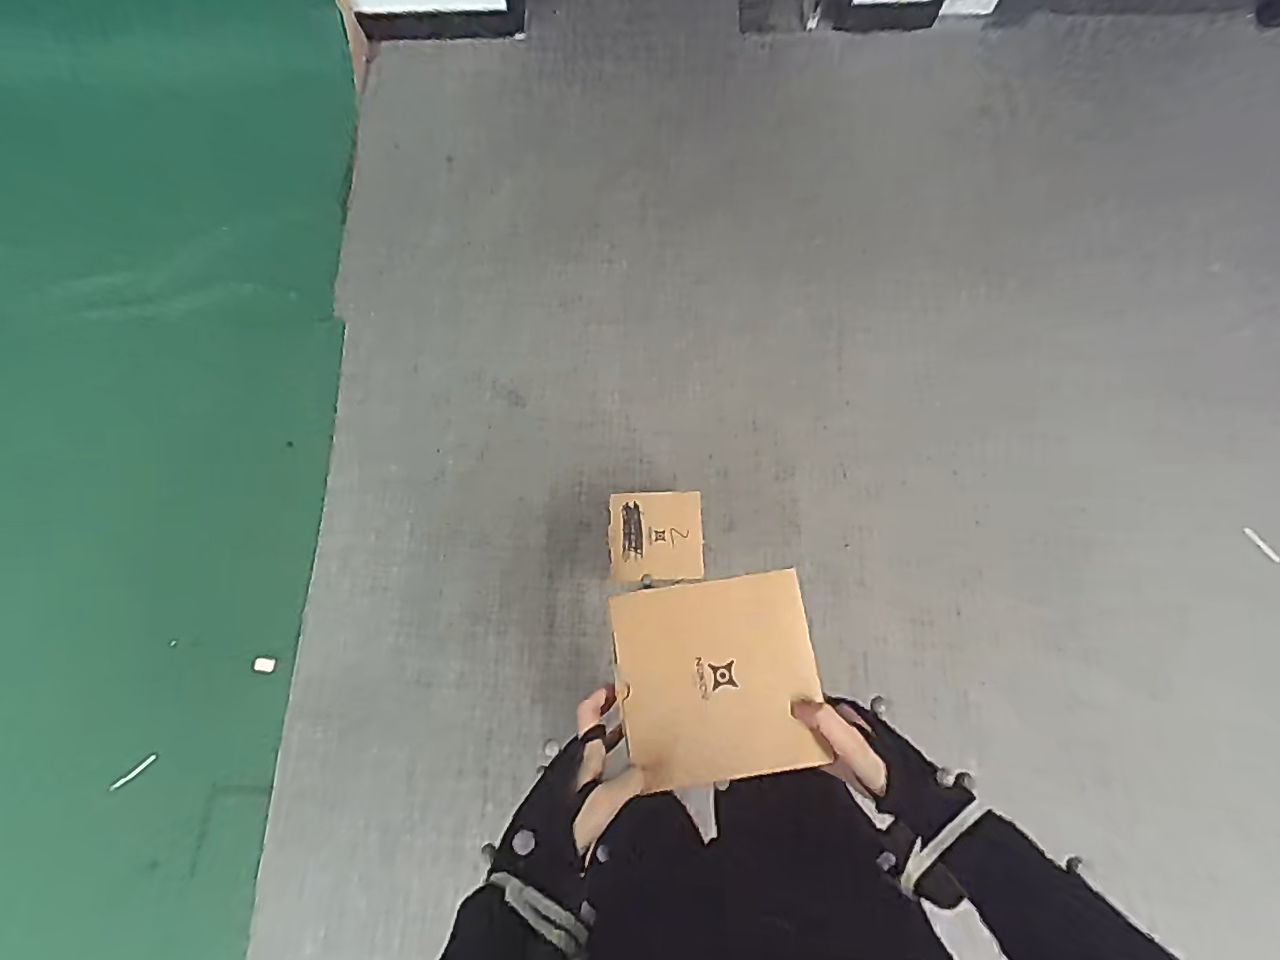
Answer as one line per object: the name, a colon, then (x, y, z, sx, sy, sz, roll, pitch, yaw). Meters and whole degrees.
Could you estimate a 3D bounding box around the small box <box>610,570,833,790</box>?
small box: (0.069, 0.186, 0.550, 0.179, 0.176, 0.168, -9, 78, -1)
